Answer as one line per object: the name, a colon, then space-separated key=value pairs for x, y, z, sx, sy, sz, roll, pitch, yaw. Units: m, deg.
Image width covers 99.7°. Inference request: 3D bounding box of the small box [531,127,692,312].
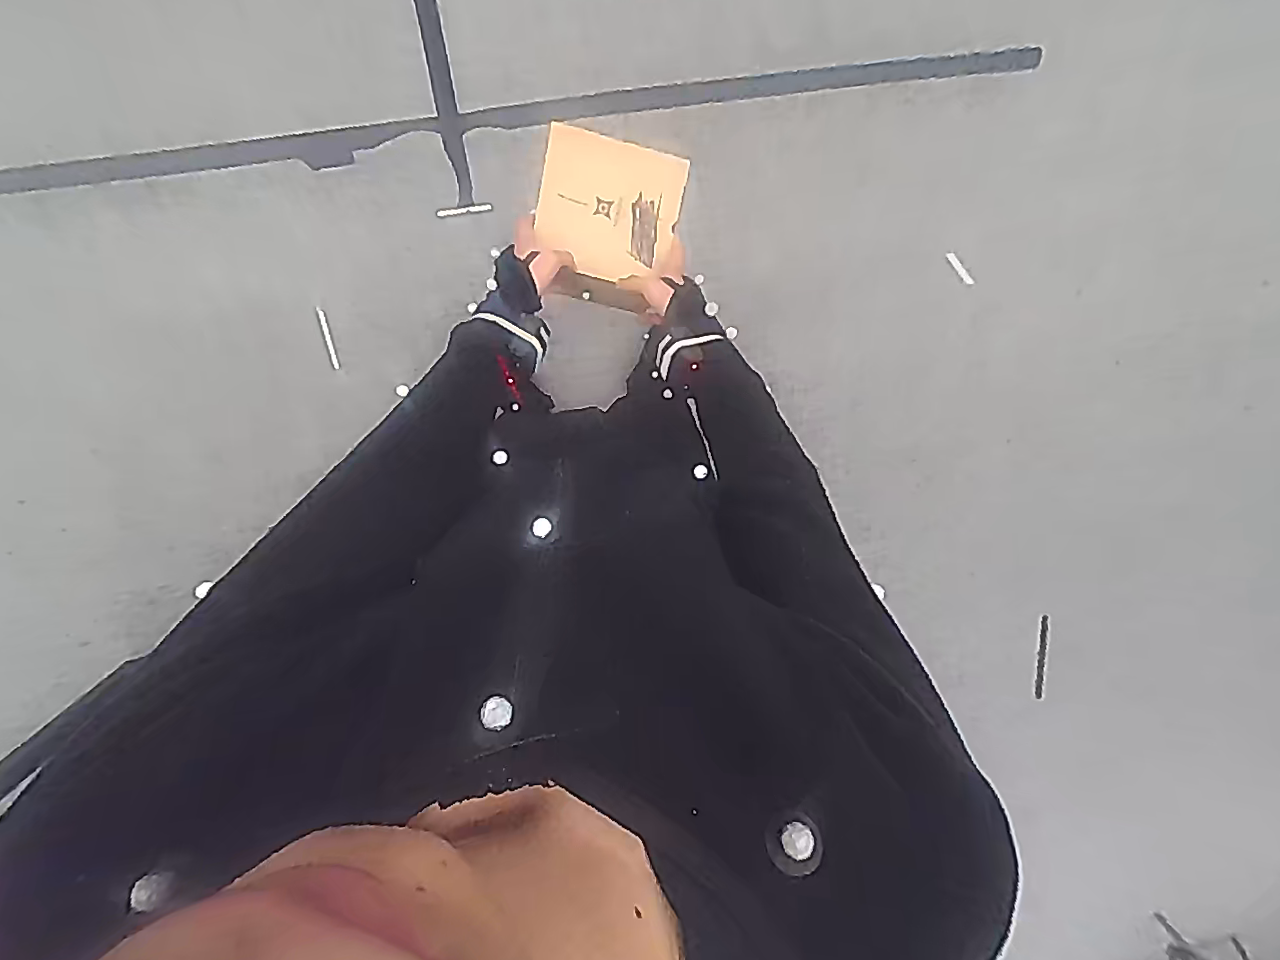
small box: x=-0.046 y=-0.339 z=0.746 sx=0.179 sy=0.176 sz=0.168 roll=10 pitch=96 yaw=-9
